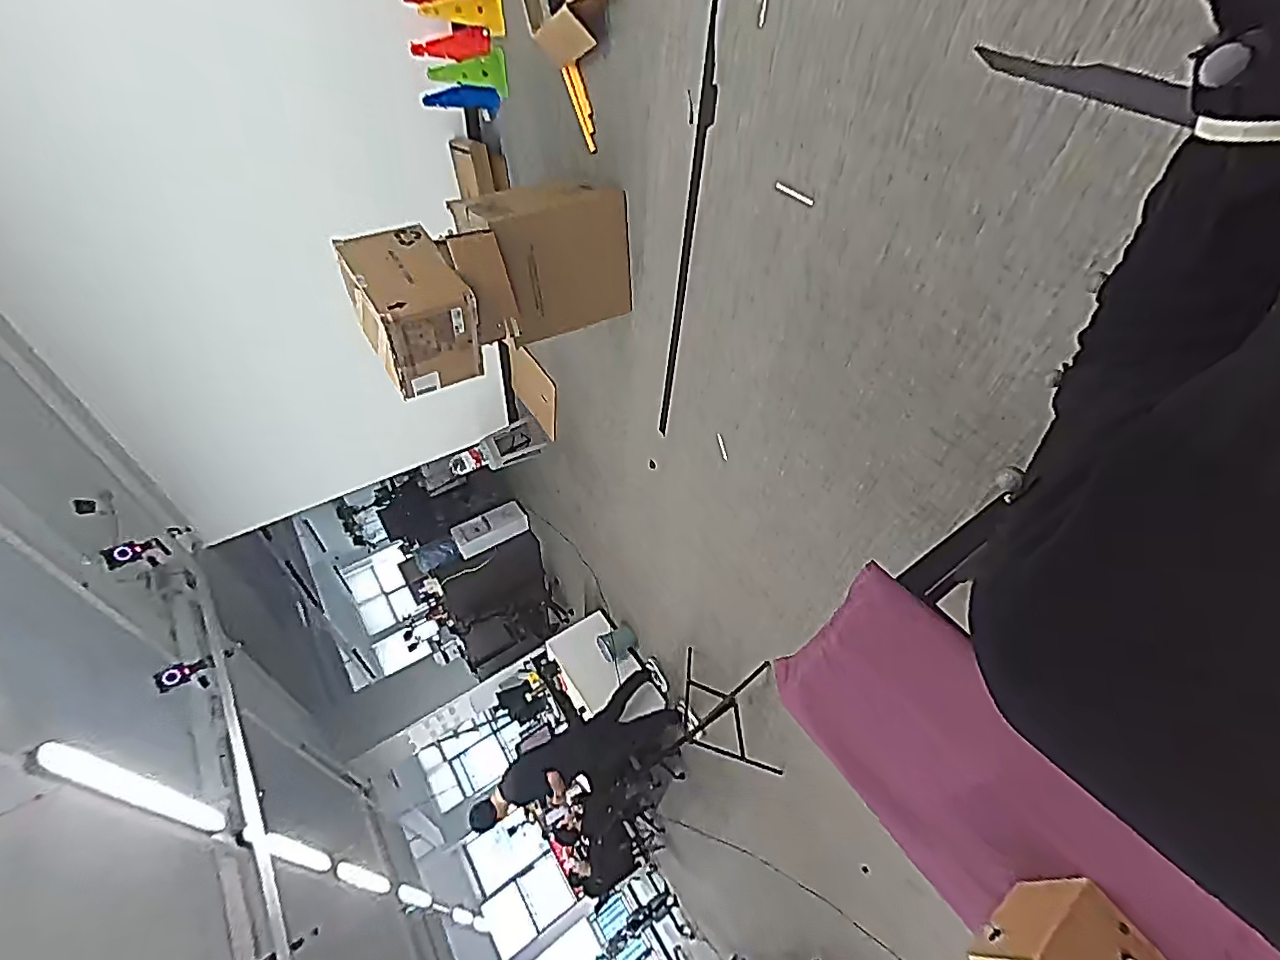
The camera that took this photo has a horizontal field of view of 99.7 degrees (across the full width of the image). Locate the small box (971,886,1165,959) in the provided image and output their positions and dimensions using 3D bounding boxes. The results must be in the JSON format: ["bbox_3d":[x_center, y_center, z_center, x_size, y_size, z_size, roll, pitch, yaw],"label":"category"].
[{"bbox_3d":[0.656,0.748,0.807,0.168,0.176,0.179,49,151,28],"label":"small box"}]
